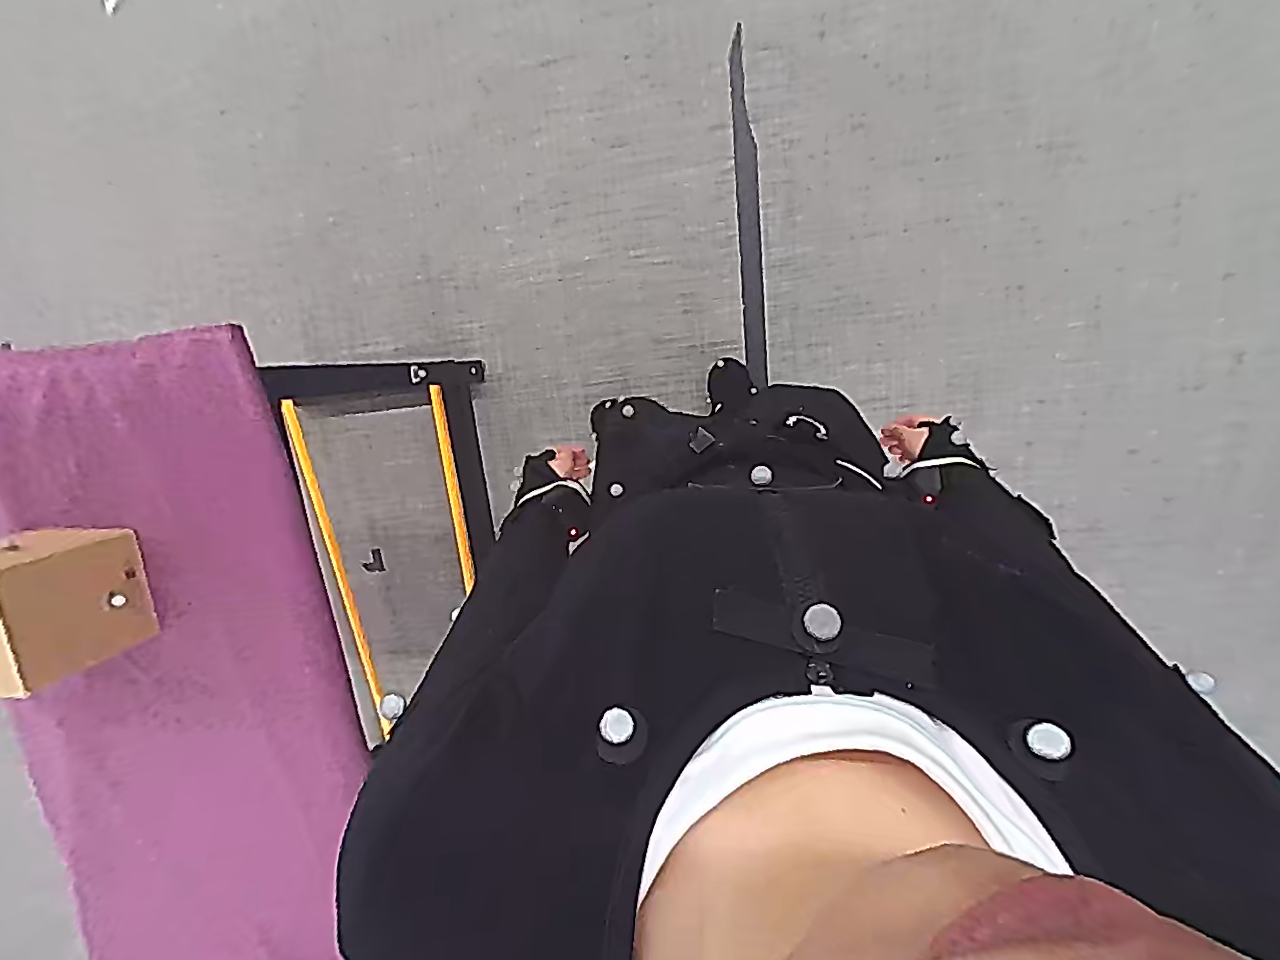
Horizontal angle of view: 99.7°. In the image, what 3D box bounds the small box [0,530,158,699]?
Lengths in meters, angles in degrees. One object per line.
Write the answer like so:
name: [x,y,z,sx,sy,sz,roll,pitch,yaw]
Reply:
small box: [-0.818,0.170,0.729,0.179,0.176,0.168,-1,102,9]
